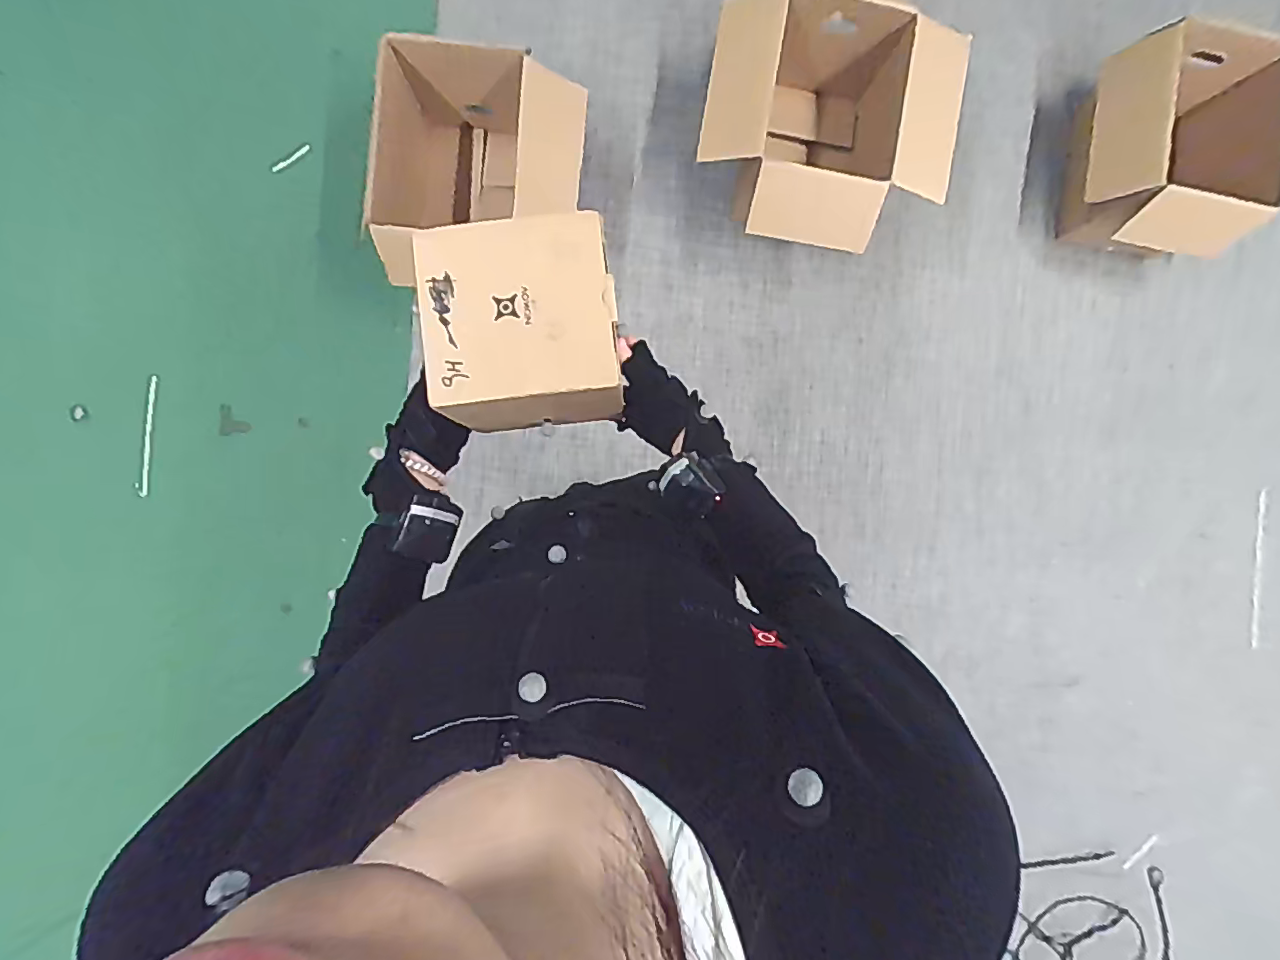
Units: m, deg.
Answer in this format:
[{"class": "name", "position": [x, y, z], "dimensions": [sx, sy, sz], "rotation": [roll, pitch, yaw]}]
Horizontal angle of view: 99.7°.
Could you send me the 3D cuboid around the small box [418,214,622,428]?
[{"class": "small box", "position": [-0.114, -0.155, 0.575], "dimensions": [0.179, 0.176, 0.168], "rotation": [-6, 86, -2]}]
